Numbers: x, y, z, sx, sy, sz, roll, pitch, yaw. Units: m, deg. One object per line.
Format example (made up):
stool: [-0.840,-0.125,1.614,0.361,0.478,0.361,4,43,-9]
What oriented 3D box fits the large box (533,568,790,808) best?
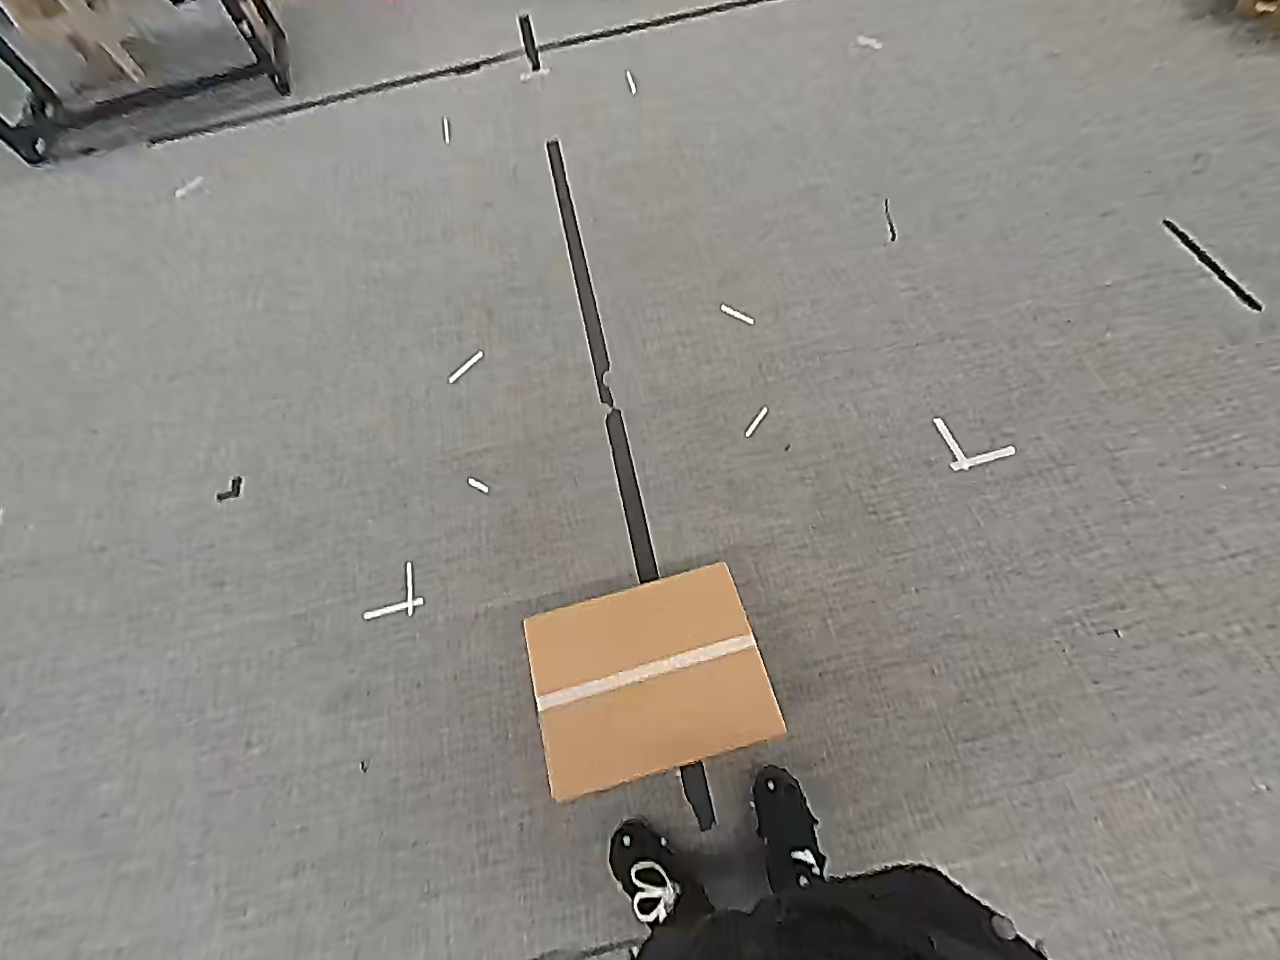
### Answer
large box: [0.038,0.423,1.096,0.408,0.320,0.320,-16,64,-2]
